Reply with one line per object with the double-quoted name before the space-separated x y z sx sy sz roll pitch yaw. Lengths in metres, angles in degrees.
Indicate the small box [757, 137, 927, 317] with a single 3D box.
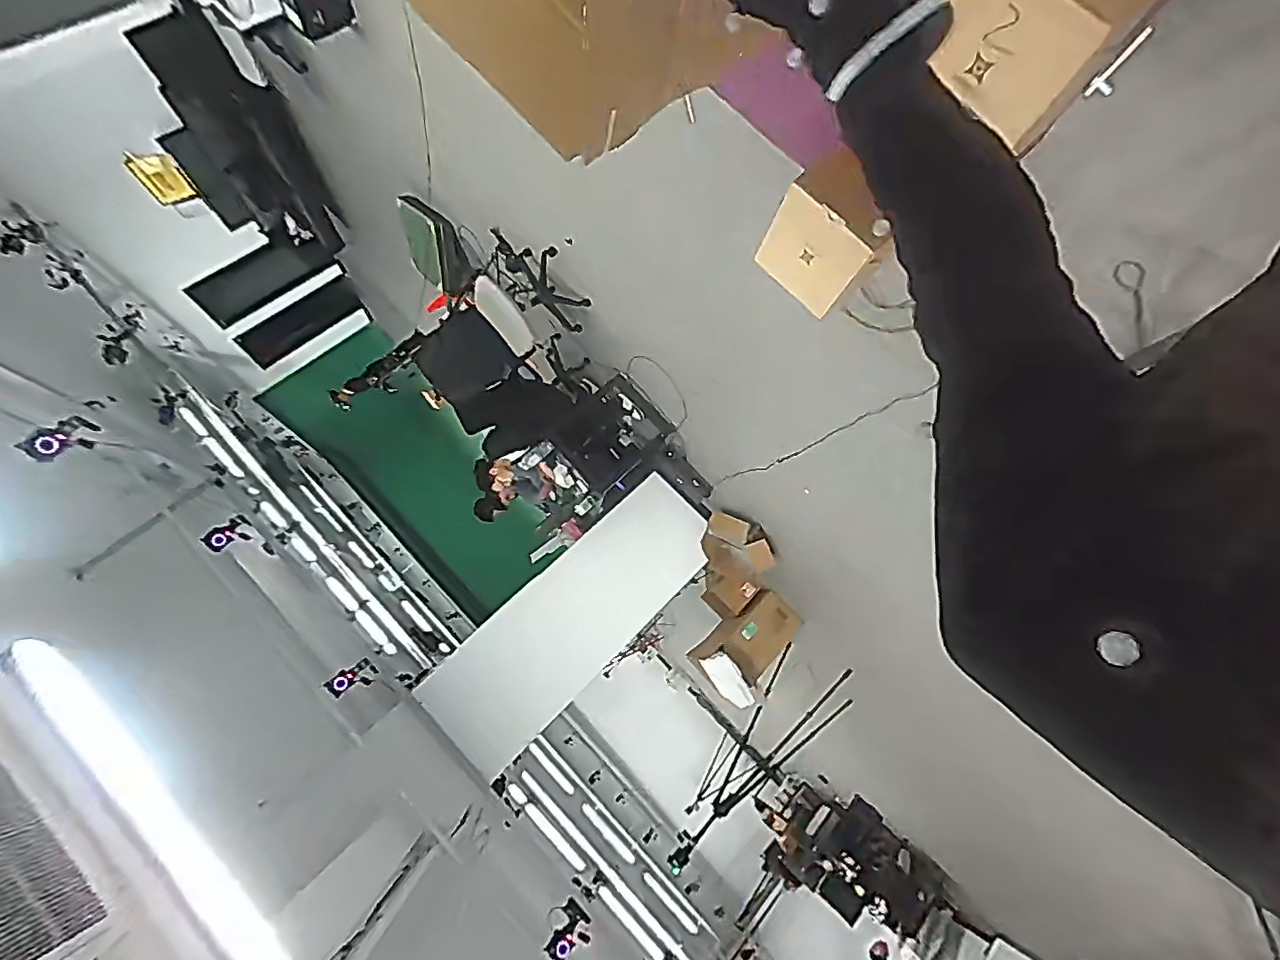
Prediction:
"small box" 0.332 -0.418 0.902 0.168 0.176 0.179 46 161 7
